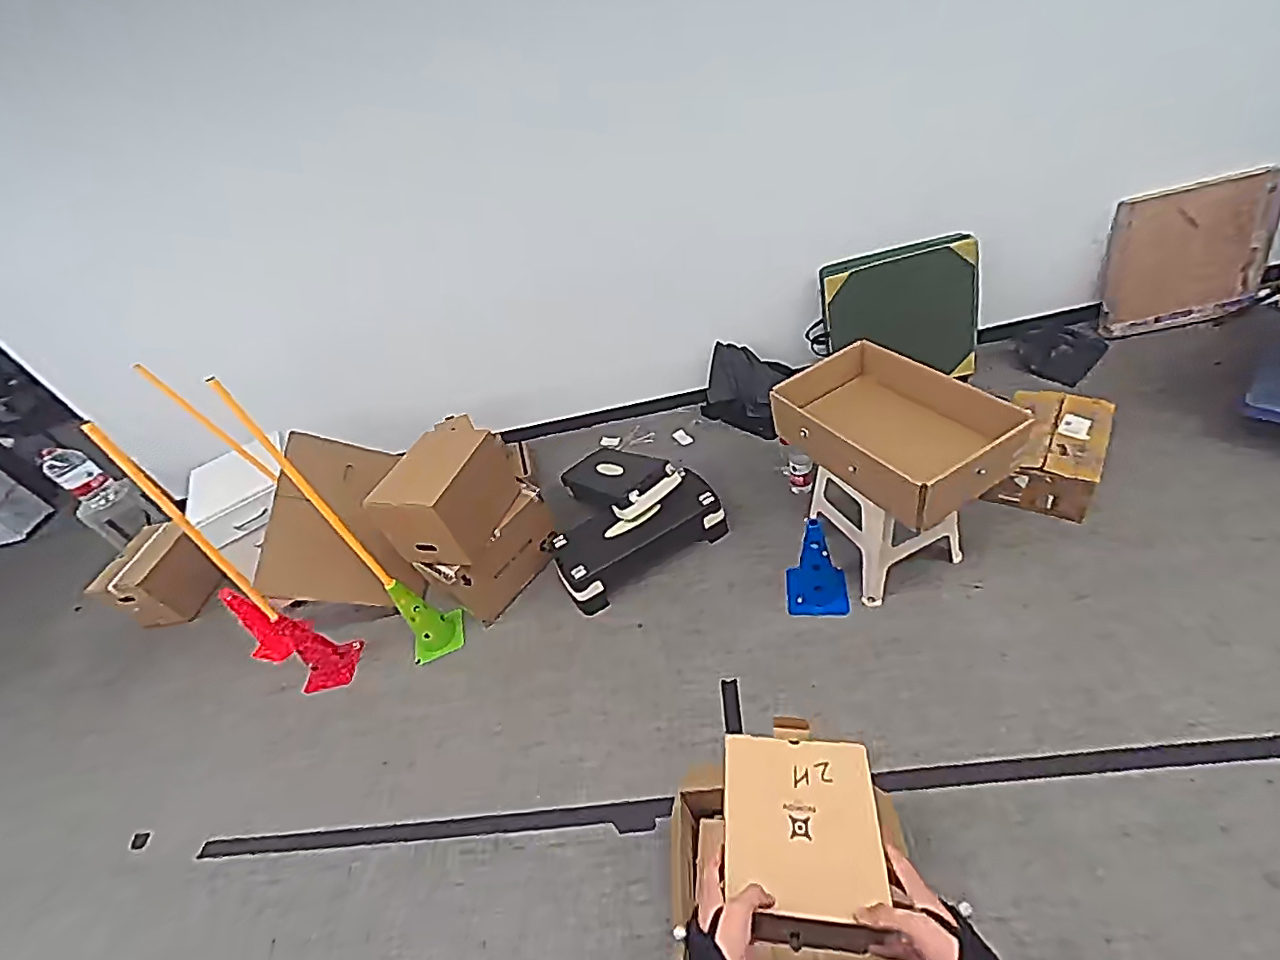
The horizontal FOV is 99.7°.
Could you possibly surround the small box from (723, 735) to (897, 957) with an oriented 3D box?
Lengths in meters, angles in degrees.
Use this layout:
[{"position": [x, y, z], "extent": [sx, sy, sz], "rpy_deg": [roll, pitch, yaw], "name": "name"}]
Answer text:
[{"position": [0.184, 0.430, 0.637], "extent": [0.168, 0.176, 0.179], "rpy_deg": [1, 42, 9], "name": "small box"}]
